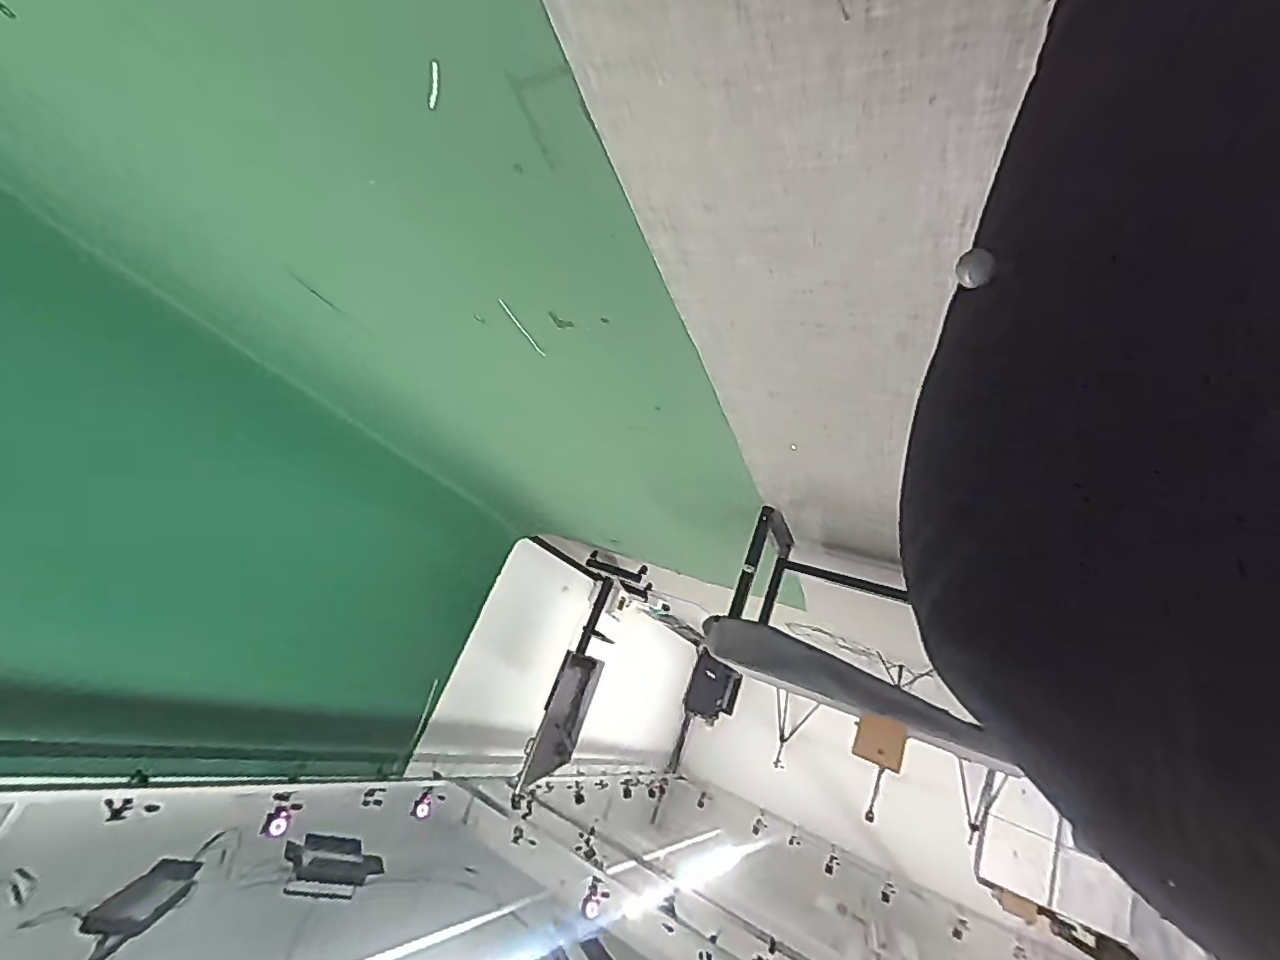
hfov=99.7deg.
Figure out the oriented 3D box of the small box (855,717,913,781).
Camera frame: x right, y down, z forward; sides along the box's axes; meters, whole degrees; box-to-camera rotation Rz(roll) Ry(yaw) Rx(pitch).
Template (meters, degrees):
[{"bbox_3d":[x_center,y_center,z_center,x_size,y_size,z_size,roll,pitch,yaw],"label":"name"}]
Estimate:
[{"bbox_3d":[0.948,1.042,2.101,0.179,0.176,0.168,14,159,28],"label":"small box"}]
